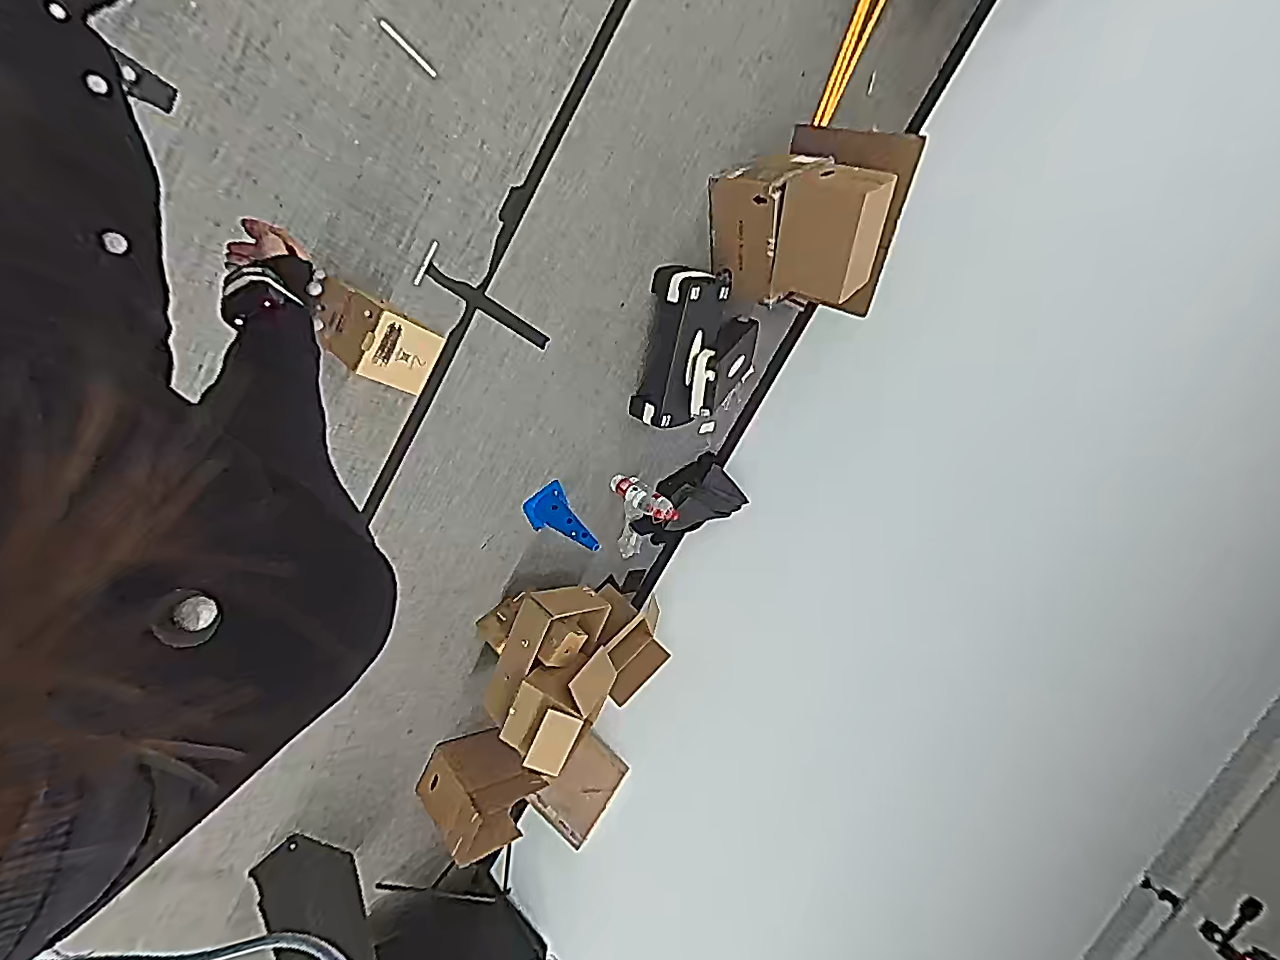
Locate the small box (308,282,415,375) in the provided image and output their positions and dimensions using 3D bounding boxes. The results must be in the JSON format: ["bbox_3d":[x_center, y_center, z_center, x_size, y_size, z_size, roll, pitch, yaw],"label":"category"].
[{"bbox_3d":[-0.750,-0.408,1.451,0.179,0.176,0.168,16,104,-54],"label":"small box"}]
